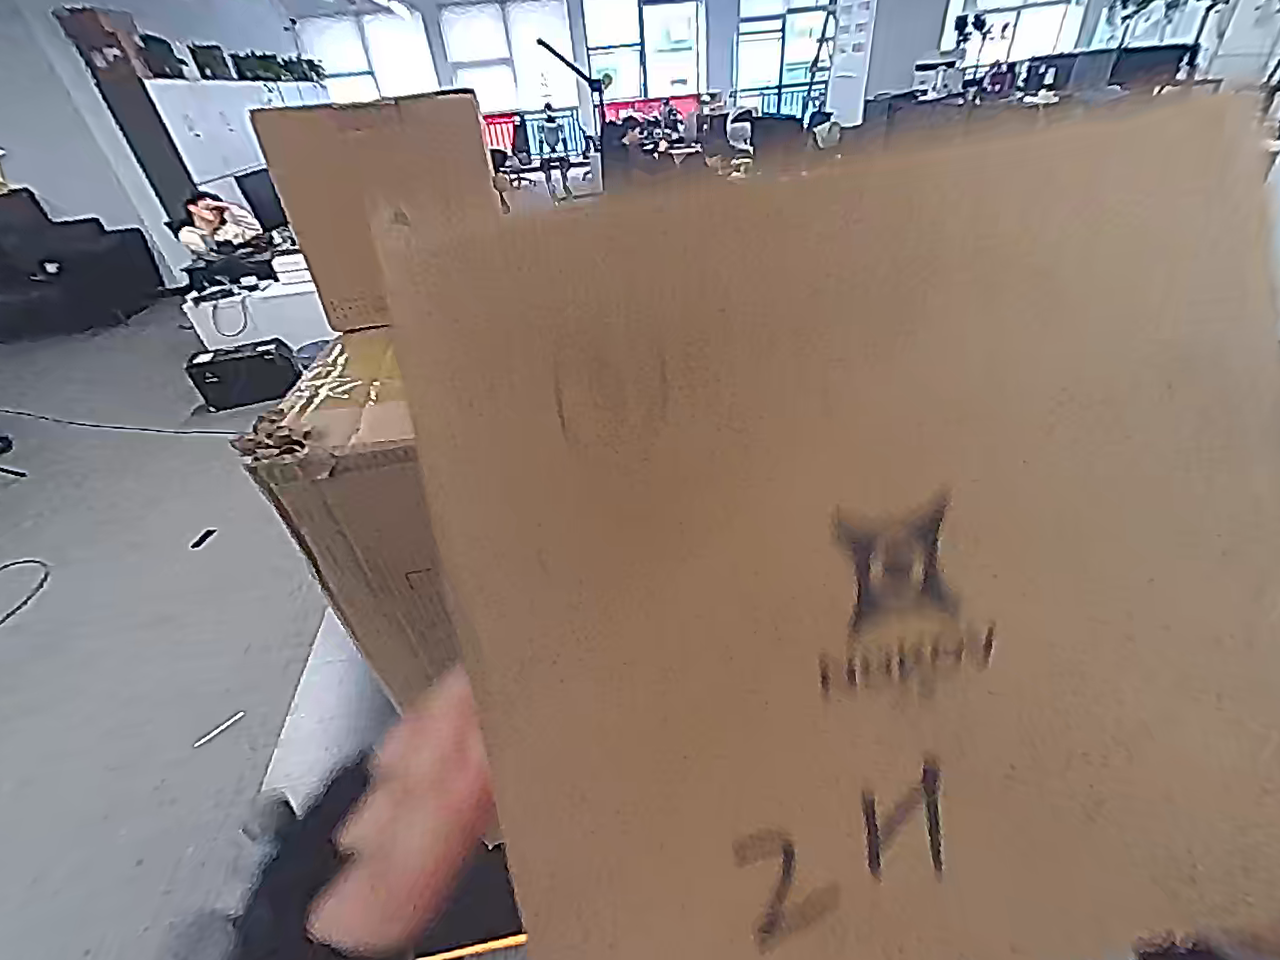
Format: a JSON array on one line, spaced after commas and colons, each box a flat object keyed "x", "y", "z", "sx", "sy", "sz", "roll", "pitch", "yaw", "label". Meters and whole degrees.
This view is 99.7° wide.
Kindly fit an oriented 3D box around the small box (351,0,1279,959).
[{"x": 0.041, "y": 0.005, "z": 0.176, "sx": 0.168, "sy": 0.179, "sz": 0.176, "roll": -10, "pitch": 7, "yaw": -3, "label": "small box"}]

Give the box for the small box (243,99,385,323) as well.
[{"x": -0.220, "y": -0.256, "z": 0.512, "sx": 0.168, "sy": 0.176, "sz": 0.179, "roll": -11, "pitch": 35, "yaw": -8, "label": "small box"}]
